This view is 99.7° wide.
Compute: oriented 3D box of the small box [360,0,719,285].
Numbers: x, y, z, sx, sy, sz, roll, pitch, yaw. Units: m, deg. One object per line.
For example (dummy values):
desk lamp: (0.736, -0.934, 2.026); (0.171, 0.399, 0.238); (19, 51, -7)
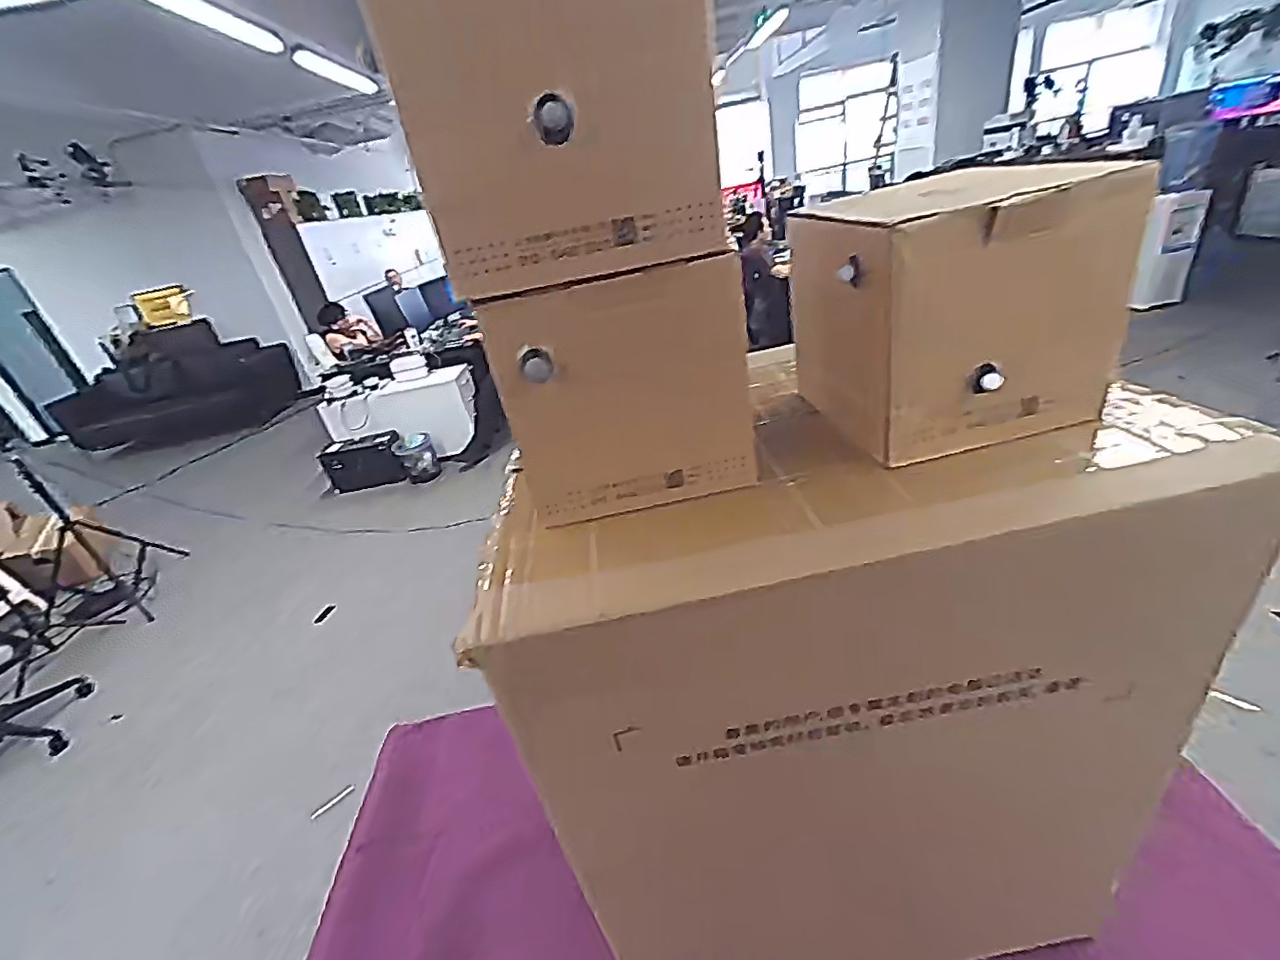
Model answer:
small box: (-0.053, -0.232, 0.351); (0.168, 0.176, 0.179); (-12, 28, -4)

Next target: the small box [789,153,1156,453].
small box: (0.229, -0.141, 0.427); (0.168, 0.176, 0.179); (-14, 29, -1)
